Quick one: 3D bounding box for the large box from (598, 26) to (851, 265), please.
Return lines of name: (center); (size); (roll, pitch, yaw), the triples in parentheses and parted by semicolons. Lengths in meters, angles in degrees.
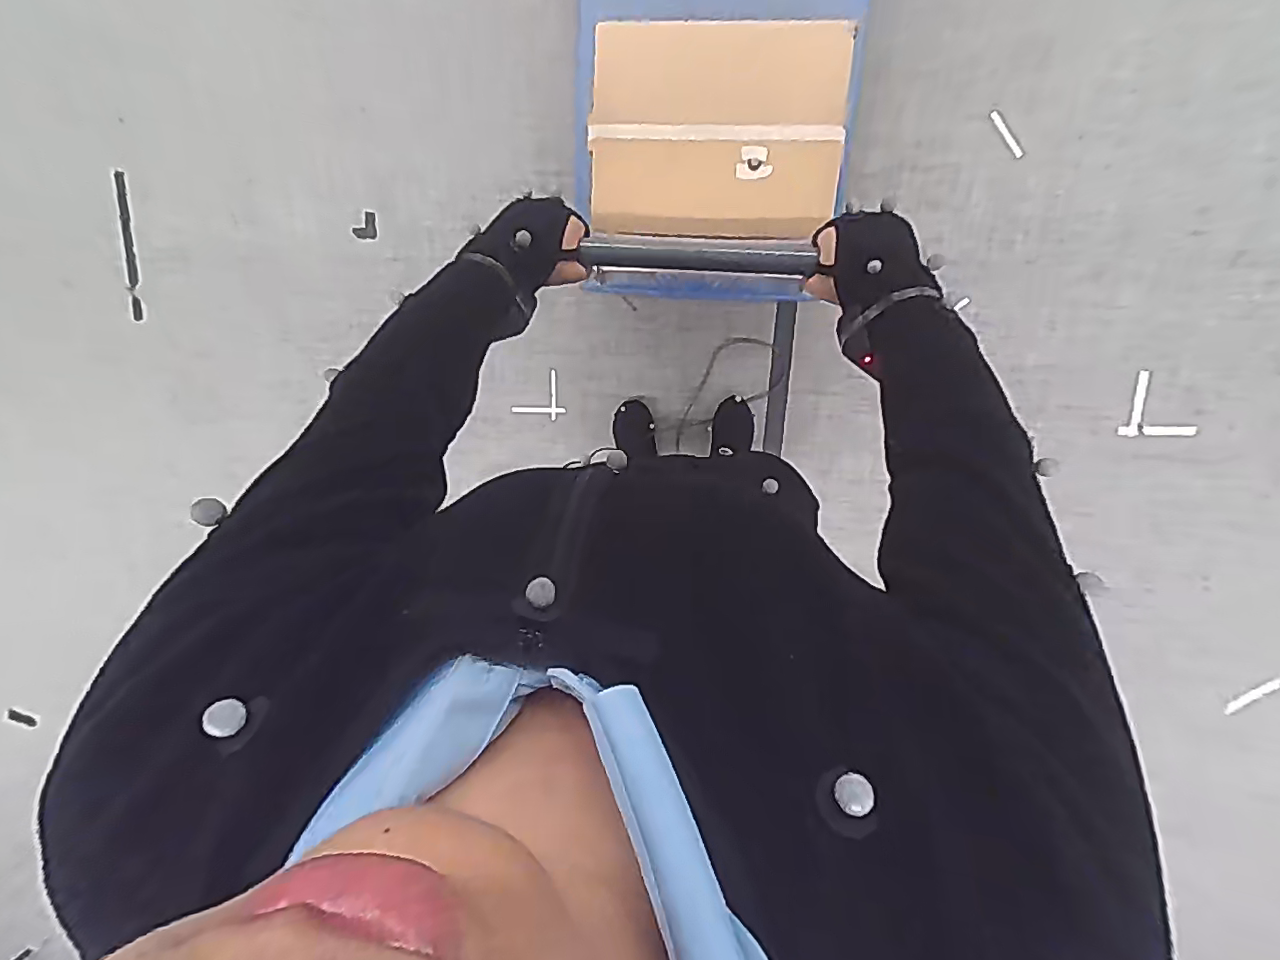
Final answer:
large box: (0.140, -0.601, 1.036); (0.408, 0.320, 0.320); (4, 104, 5)
